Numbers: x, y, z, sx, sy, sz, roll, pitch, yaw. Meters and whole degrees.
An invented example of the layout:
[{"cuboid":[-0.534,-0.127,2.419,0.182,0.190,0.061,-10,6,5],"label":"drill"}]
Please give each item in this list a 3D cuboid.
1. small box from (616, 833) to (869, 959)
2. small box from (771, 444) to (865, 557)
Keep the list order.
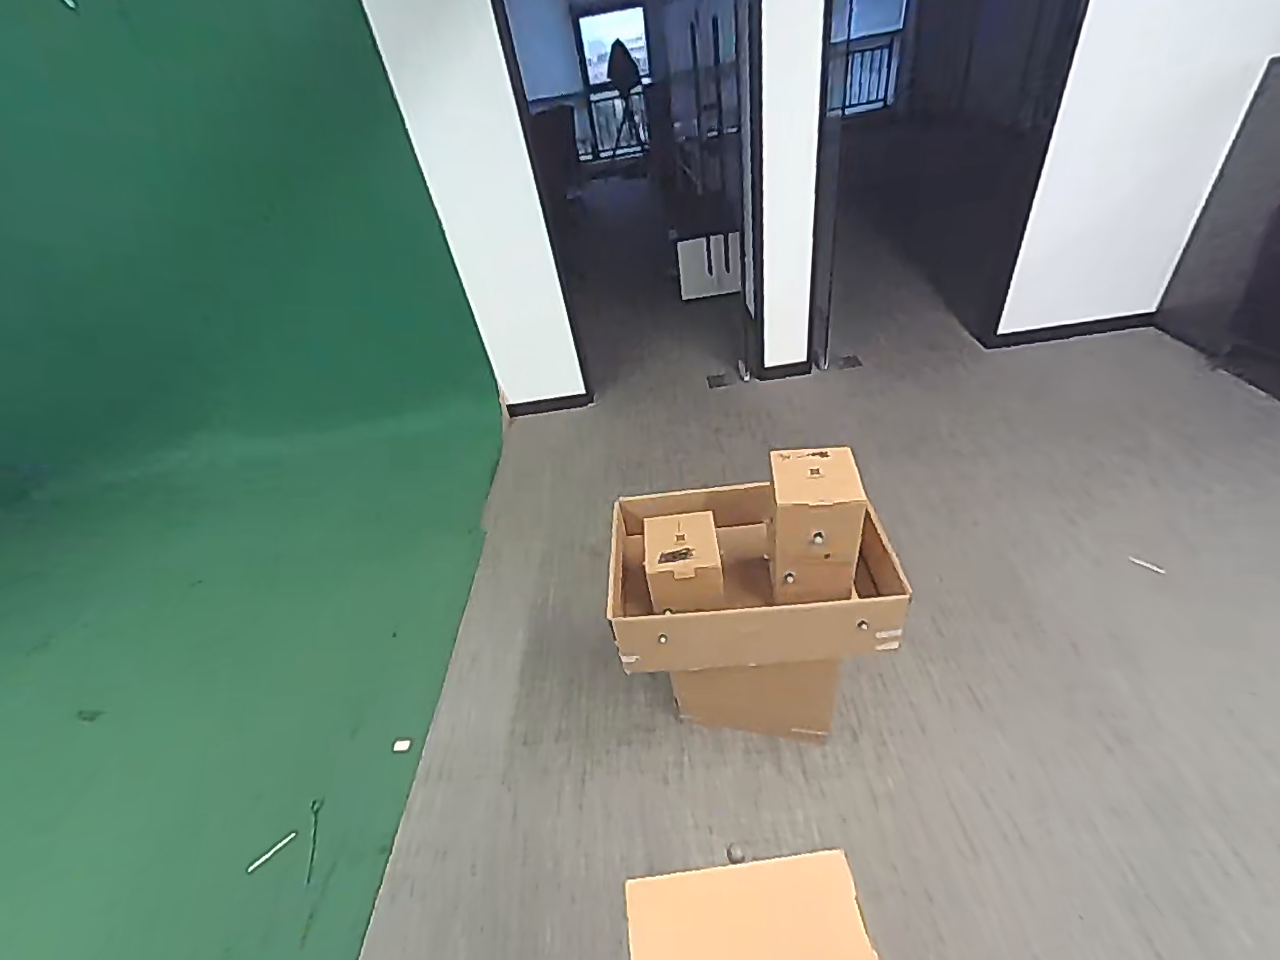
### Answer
[{"cuboid":[0.080,0.404,0.433,0.179,0.176,0.168,-7,48,-3],"label":"small box"},{"cuboid":[0.363,0.047,1.129,0.168,0.176,0.179,-3,40,11],"label":"small box"}]
